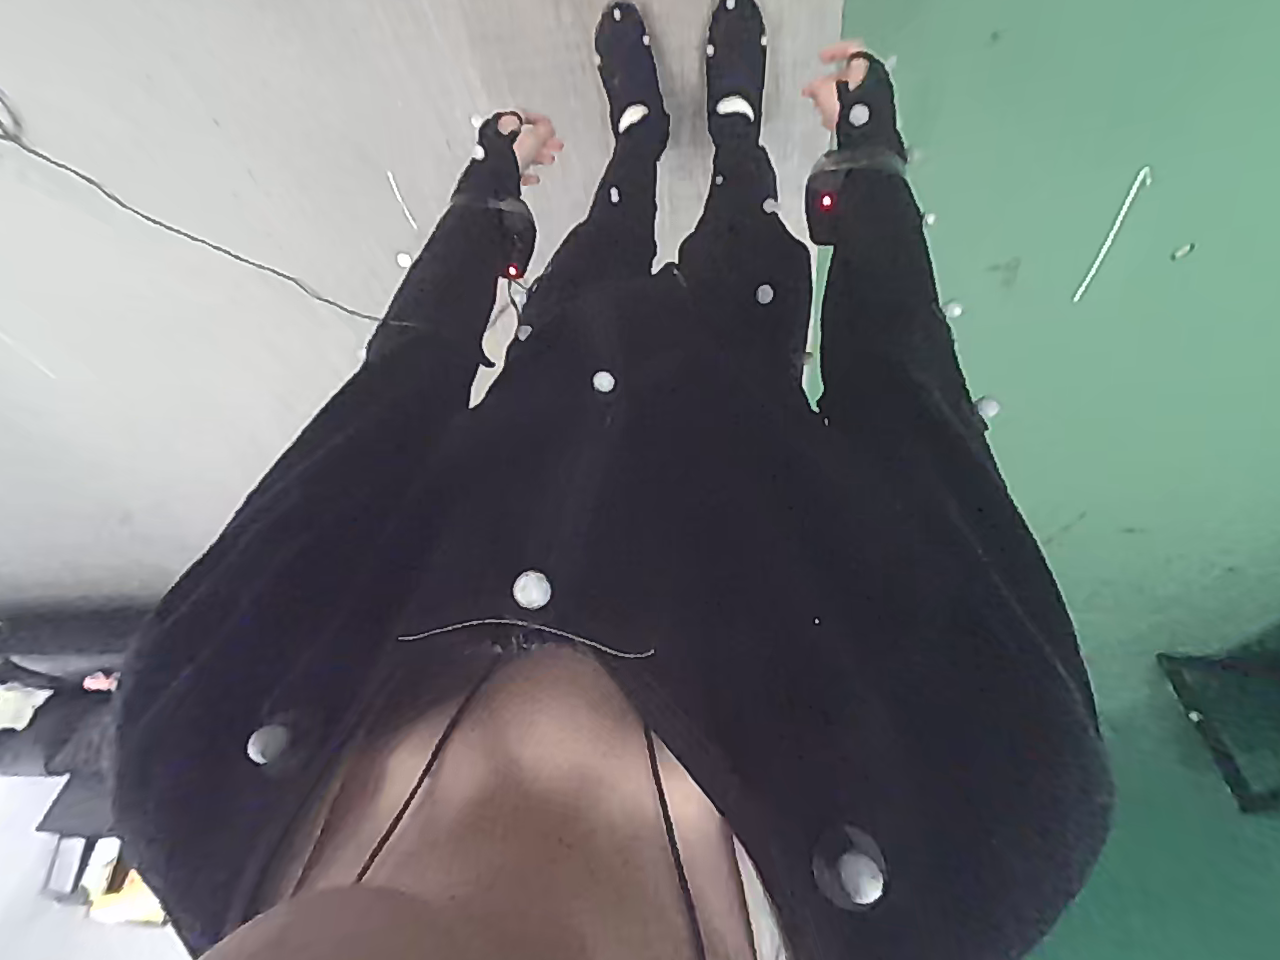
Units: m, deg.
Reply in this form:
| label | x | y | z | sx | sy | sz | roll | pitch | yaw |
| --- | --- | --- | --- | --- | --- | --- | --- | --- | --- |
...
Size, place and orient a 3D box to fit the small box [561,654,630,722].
| label | x | y | z | sx | sy | sz | roll | pitch | yaw |
| --- | --- | --- | --- | --- | --- | --- | --- | --- | --- |
| small box | -0.150 | 0.734 | 1.908 | 0.179 | 0.176 | 0.168 | -25 | 132 | 30 |
